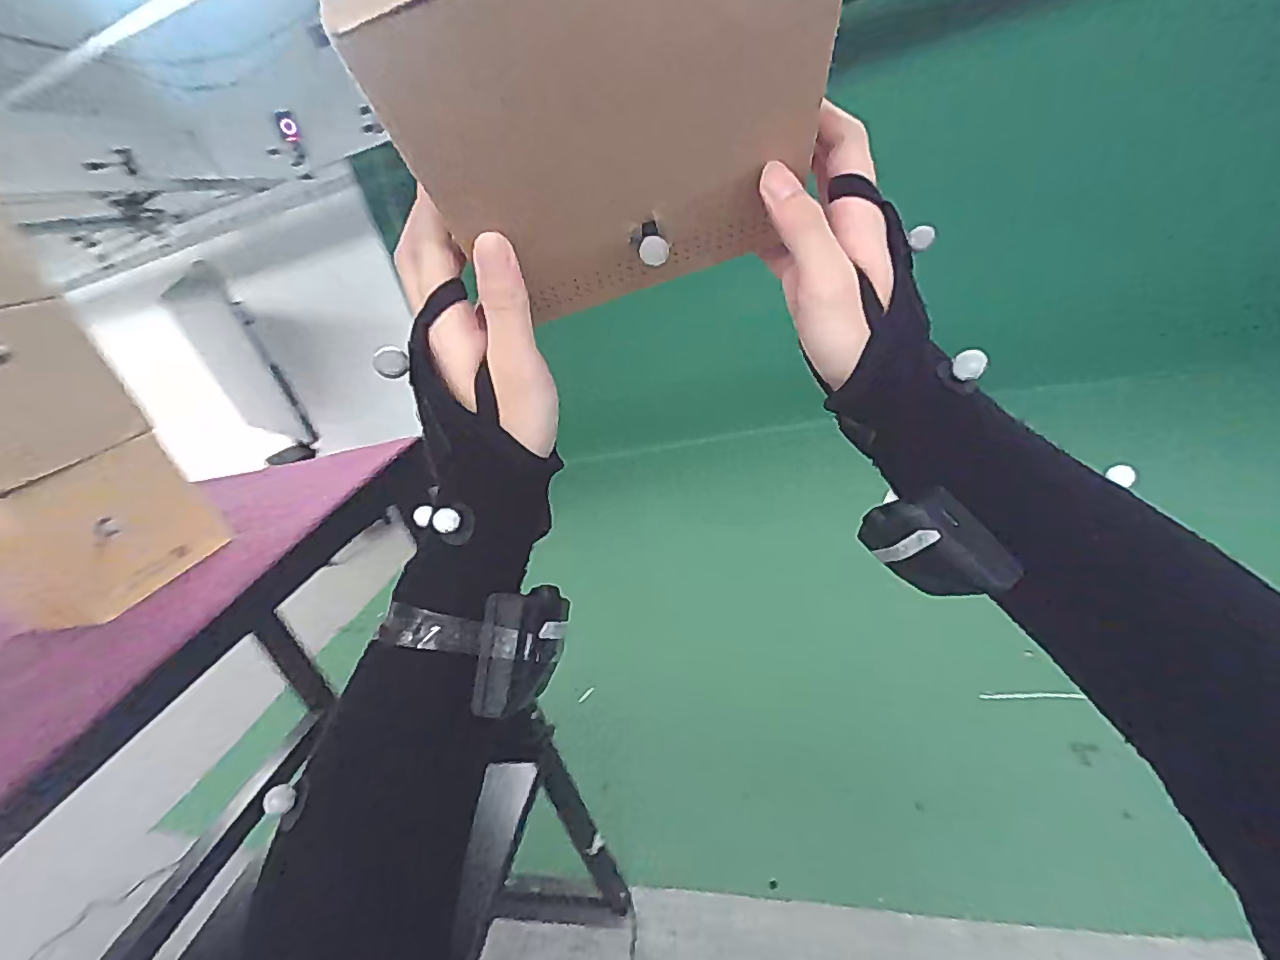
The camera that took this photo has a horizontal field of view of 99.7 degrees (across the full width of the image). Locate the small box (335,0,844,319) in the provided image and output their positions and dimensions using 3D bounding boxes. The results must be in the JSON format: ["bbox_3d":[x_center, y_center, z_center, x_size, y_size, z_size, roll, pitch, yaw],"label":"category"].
[{"bbox_3d":[-0.020,-0.211,0.262,0.179,0.168,0.176,-18,-19,3],"label":"small box"}]

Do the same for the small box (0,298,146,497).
[{"bbox_3d":[-0.707,-0.074,0.576,0.168,0.176,0.179,-10,26,16],"label":"small box"}]

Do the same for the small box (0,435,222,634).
[{"bbox_3d":[-0.668,0.067,0.651,0.179,0.176,0.168,-9,27,20],"label":"small box"}]

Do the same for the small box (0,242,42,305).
[{"bbox_3d":[-0.762,-0.214,0.513,0.168,0.176,0.179,-9,26,18],"label":"small box"}]
